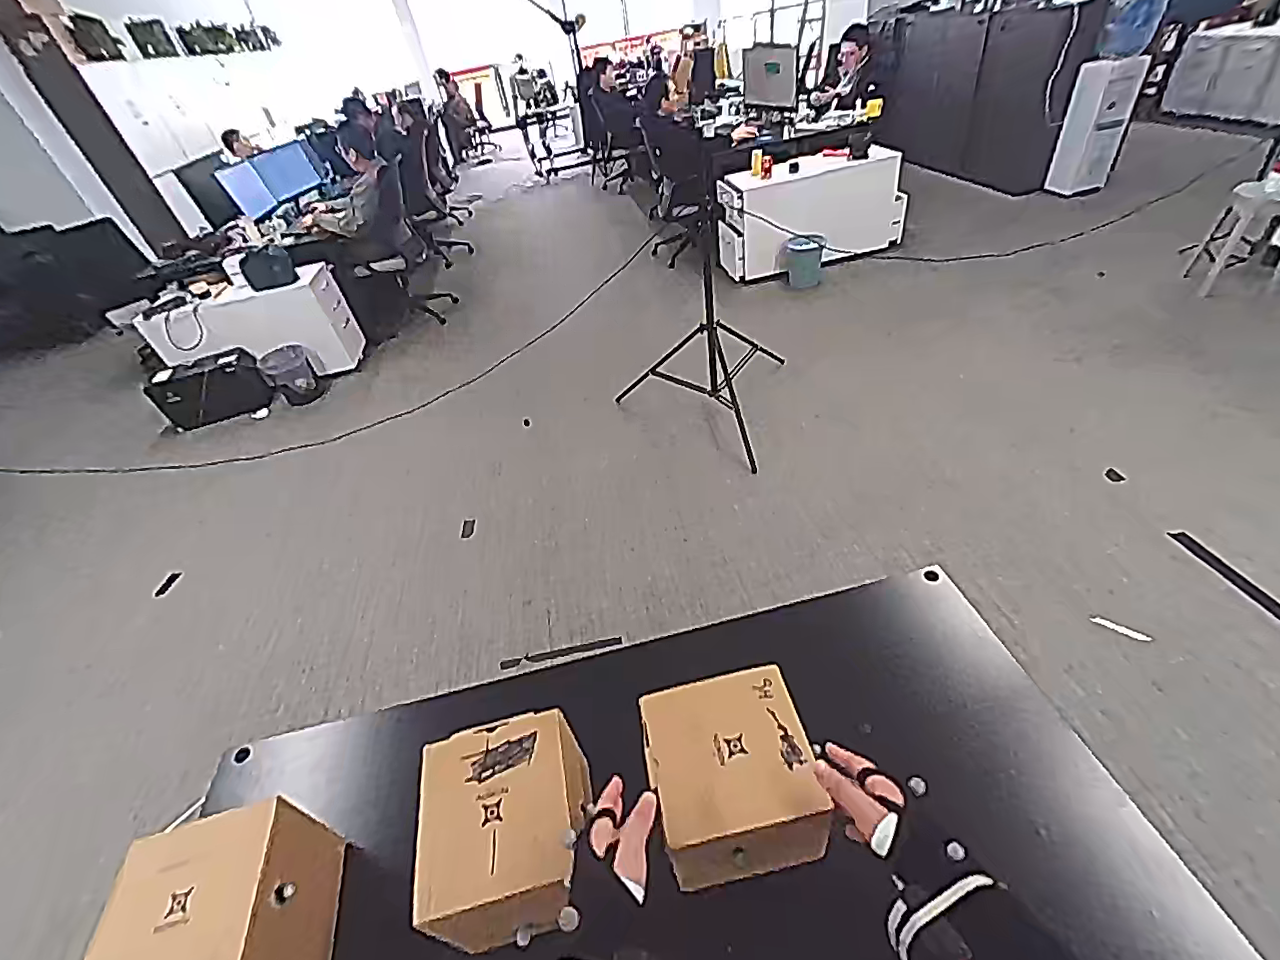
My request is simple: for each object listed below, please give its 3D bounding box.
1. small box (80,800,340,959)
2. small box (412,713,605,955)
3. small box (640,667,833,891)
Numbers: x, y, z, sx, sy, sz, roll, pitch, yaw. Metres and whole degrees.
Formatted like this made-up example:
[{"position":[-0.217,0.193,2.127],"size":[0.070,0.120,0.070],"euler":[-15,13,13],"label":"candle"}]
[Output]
[{"position":[-0.463,0.501,0.602],"size":[0.168,0.176,0.179],"euler":[-15,40,-7],"label":"small box"},{"position":[-0.144,0.411,0.633],"size":[0.168,0.176,0.179],"euler":[-14,41,-4],"label":"small box"},{"position":[0.109,0.356,0.641],"size":[0.179,0.176,0.168],"euler":[-13,40,-1],"label":"small box"}]
